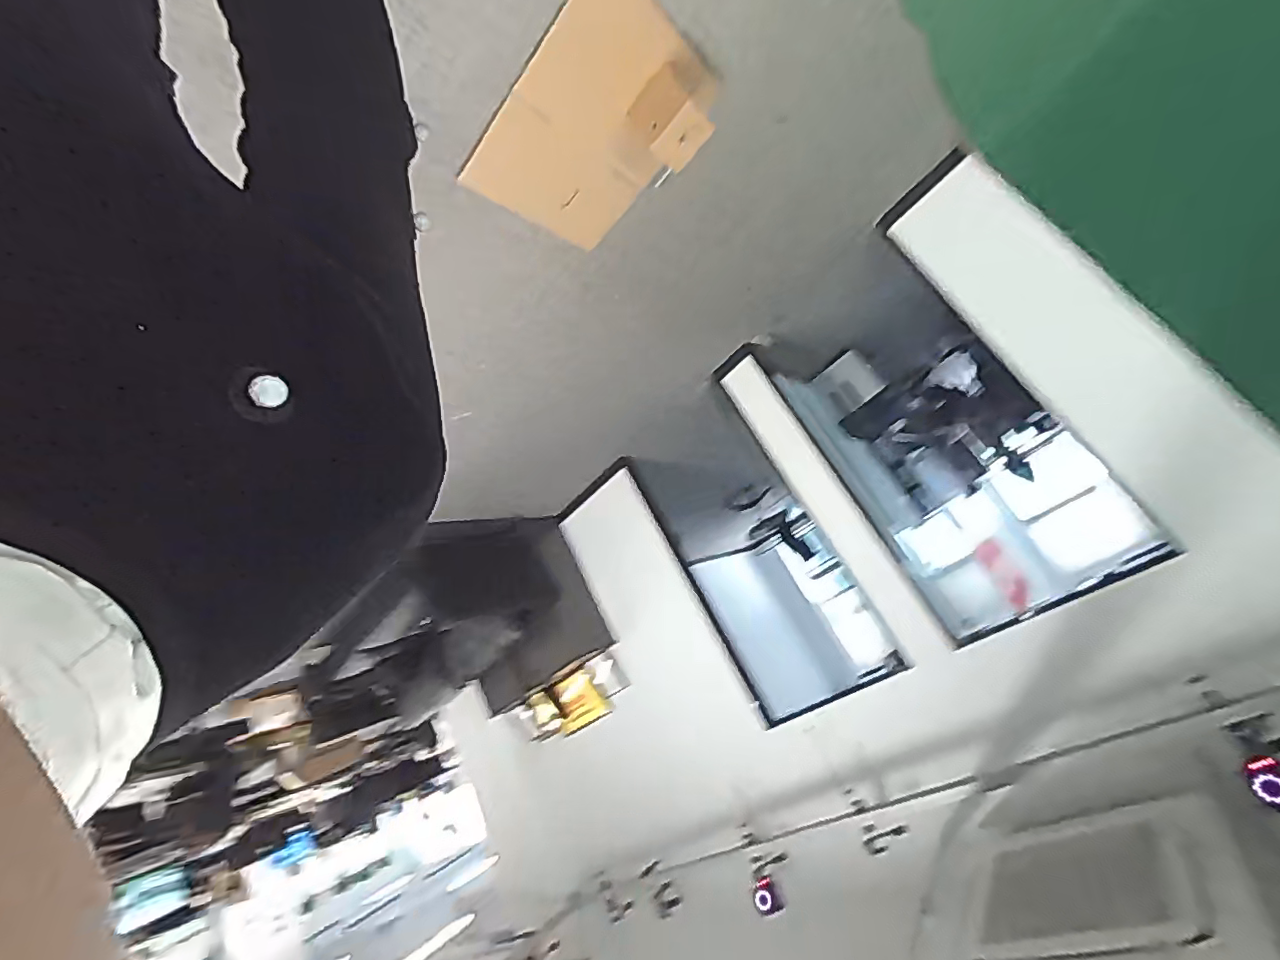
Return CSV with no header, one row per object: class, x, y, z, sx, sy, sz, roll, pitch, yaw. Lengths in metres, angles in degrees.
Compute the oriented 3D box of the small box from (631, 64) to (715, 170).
small box,0.093,-1.117,1.670,0.179,0.176,0.168,-40,158,28
